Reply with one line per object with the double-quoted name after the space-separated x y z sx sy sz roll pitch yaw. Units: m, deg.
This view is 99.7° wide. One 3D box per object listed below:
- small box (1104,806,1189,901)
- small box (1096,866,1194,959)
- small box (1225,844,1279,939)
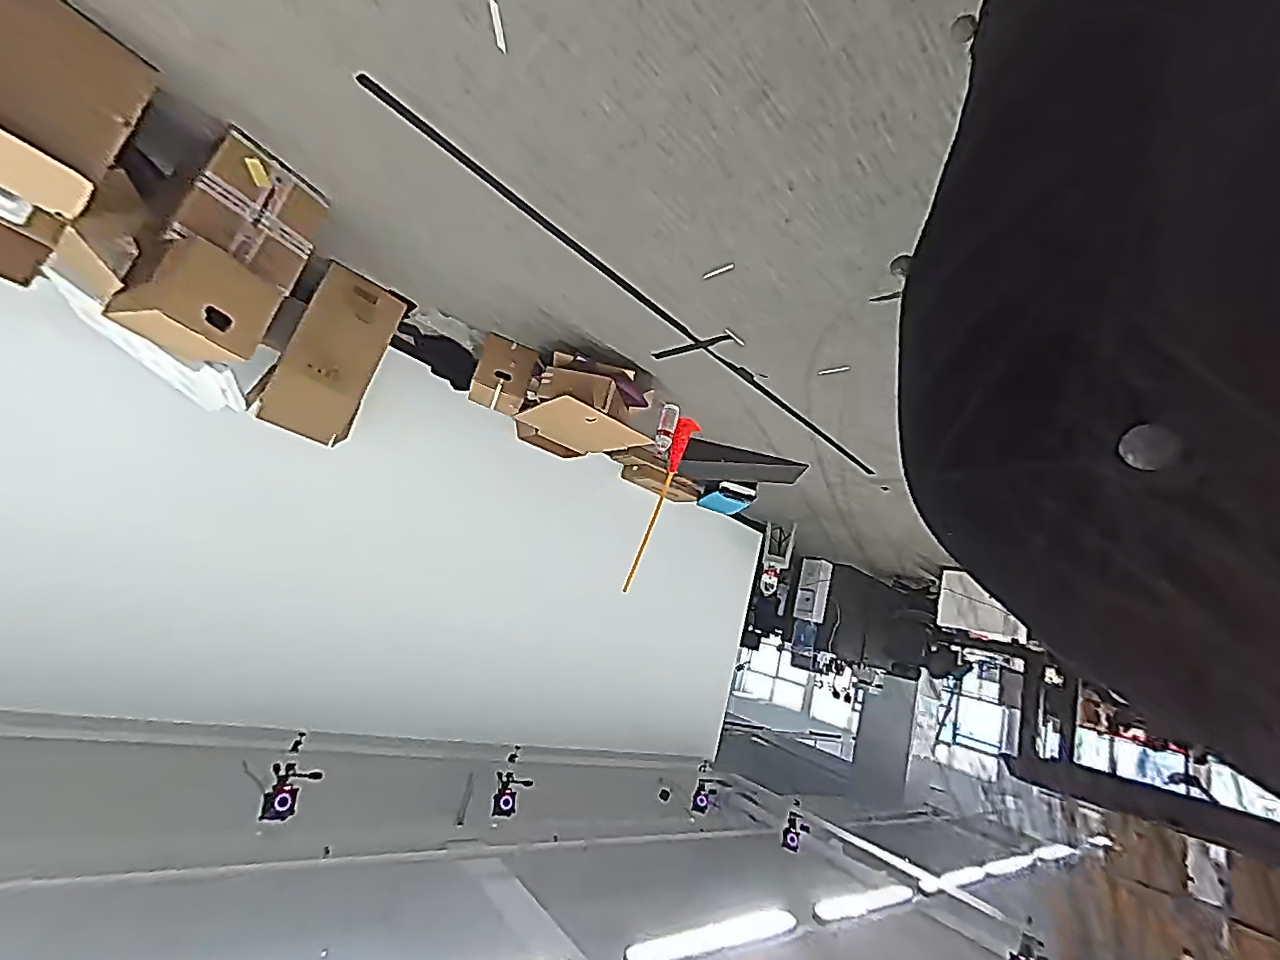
1.456 1.059 1.551 0.179 0.176 0.168 26 162 -39 "small box"
1.405 1.212 1.506 0.168 0.176 0.179 23 165 -34 "small box"
1.615 1.057 1.375 0.168 0.176 0.179 1 161 47 "small box"
